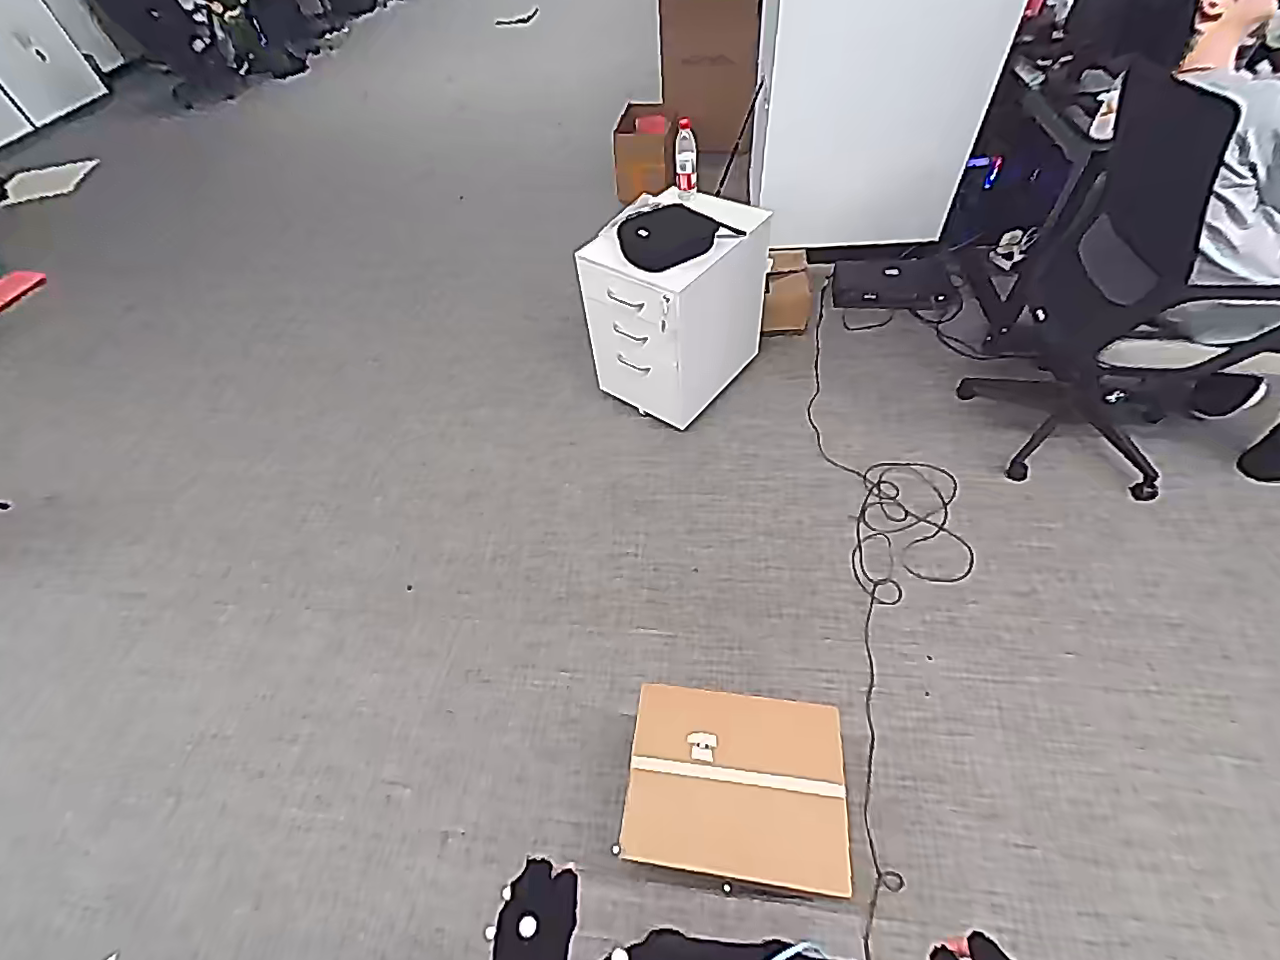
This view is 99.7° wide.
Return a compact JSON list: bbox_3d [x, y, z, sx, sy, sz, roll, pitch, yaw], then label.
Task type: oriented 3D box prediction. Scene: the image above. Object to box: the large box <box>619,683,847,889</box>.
[{"bbox_3d":[0.192,0.654,1.155,0.408,0.320,0.320,3,52,9],"label":"large box"}]
